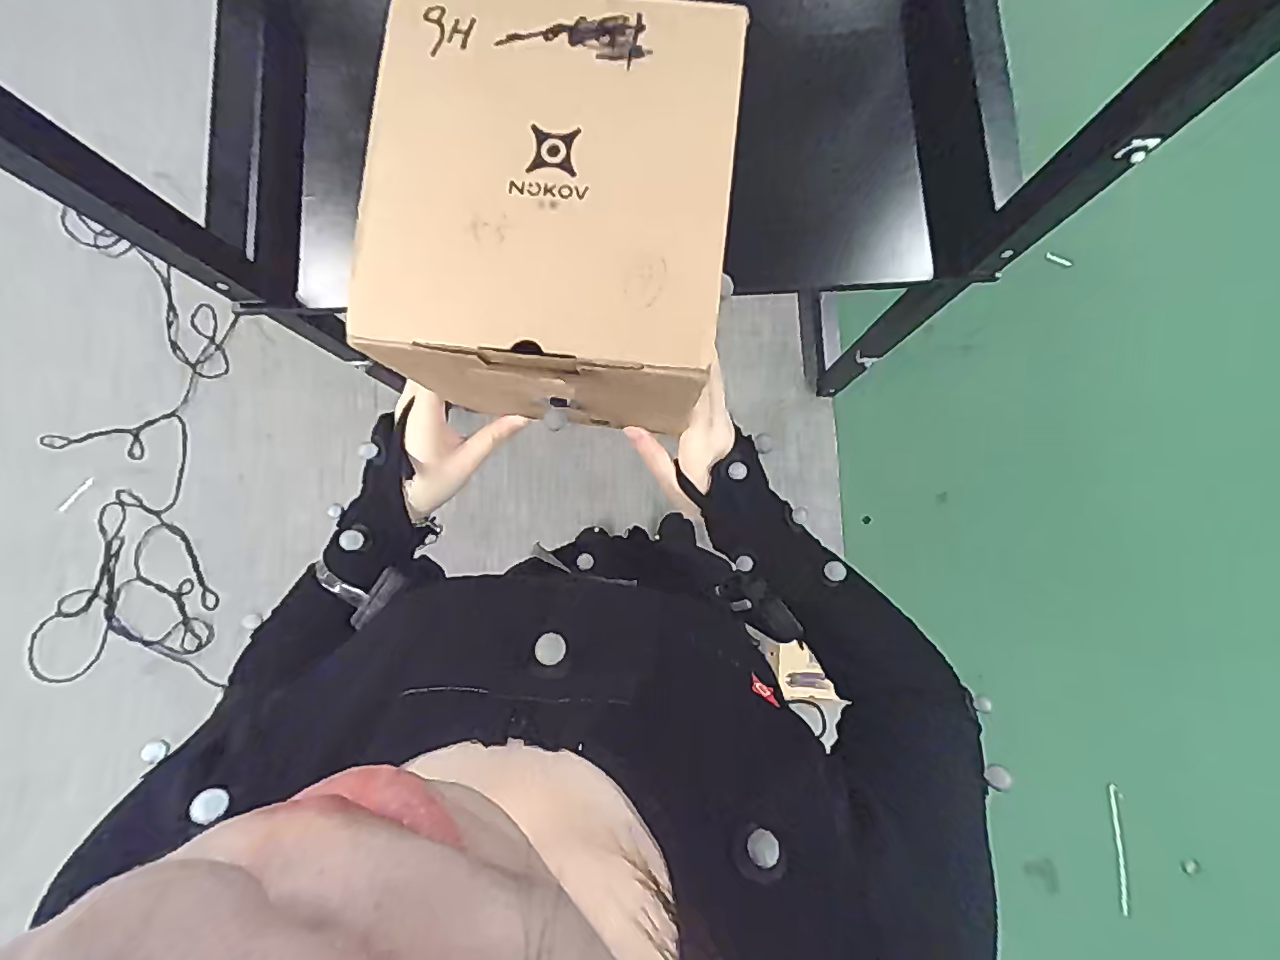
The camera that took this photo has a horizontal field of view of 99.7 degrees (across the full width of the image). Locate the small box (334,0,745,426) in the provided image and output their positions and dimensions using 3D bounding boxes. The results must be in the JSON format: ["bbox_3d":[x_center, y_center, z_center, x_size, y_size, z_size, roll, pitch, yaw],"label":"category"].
[{"bbox_3d":[-0.041,-0.134,0.316,0.168,0.176,0.179,6,86,1],"label":"small box"}]
